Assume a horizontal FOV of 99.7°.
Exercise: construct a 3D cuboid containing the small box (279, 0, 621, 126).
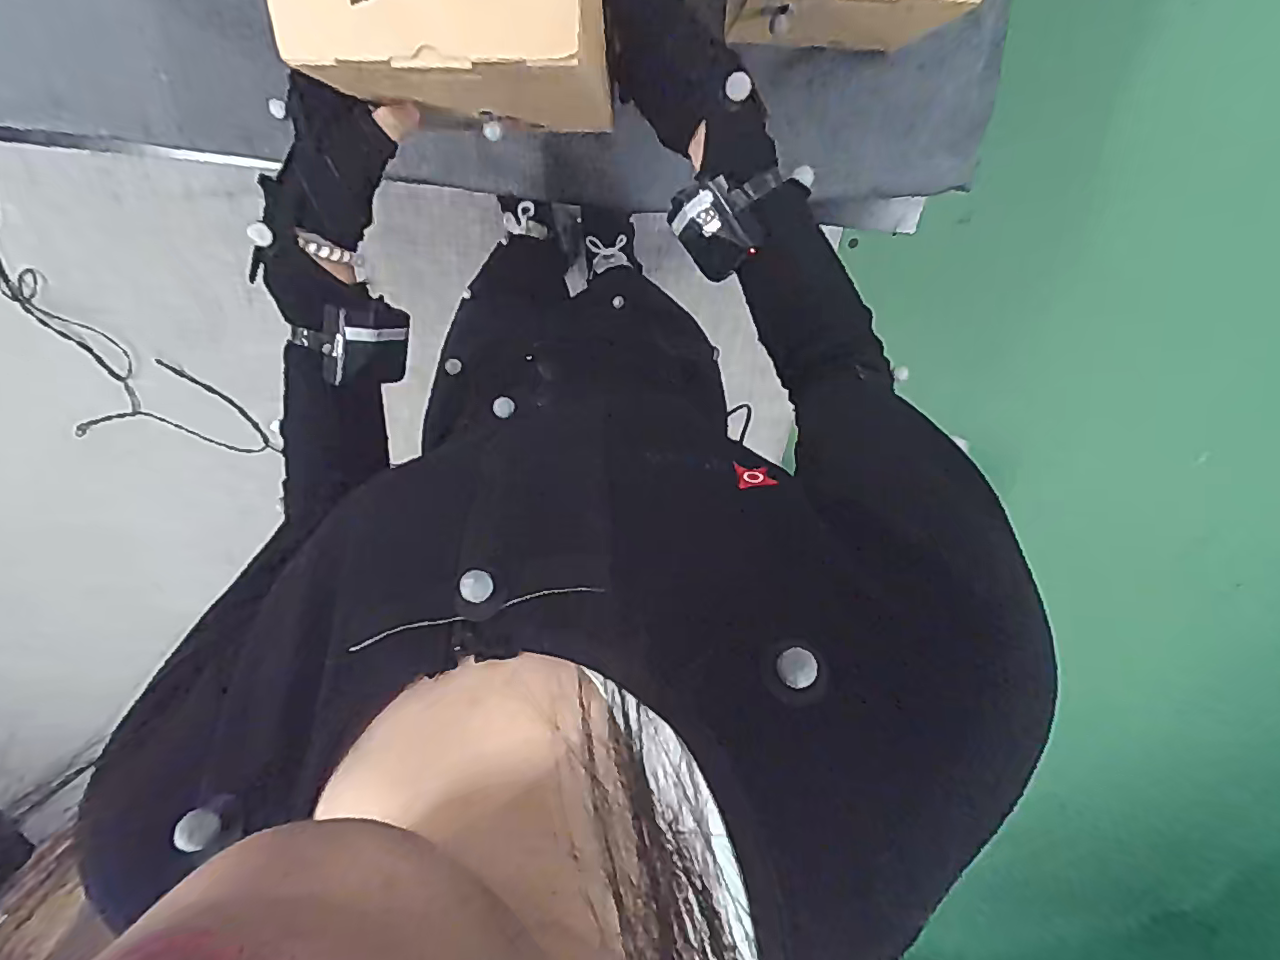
[{"bbox_3d":[-0.100,-0.338,0.327,0.168,0.176,0.179,3,113,3],"label":"small box"}]
